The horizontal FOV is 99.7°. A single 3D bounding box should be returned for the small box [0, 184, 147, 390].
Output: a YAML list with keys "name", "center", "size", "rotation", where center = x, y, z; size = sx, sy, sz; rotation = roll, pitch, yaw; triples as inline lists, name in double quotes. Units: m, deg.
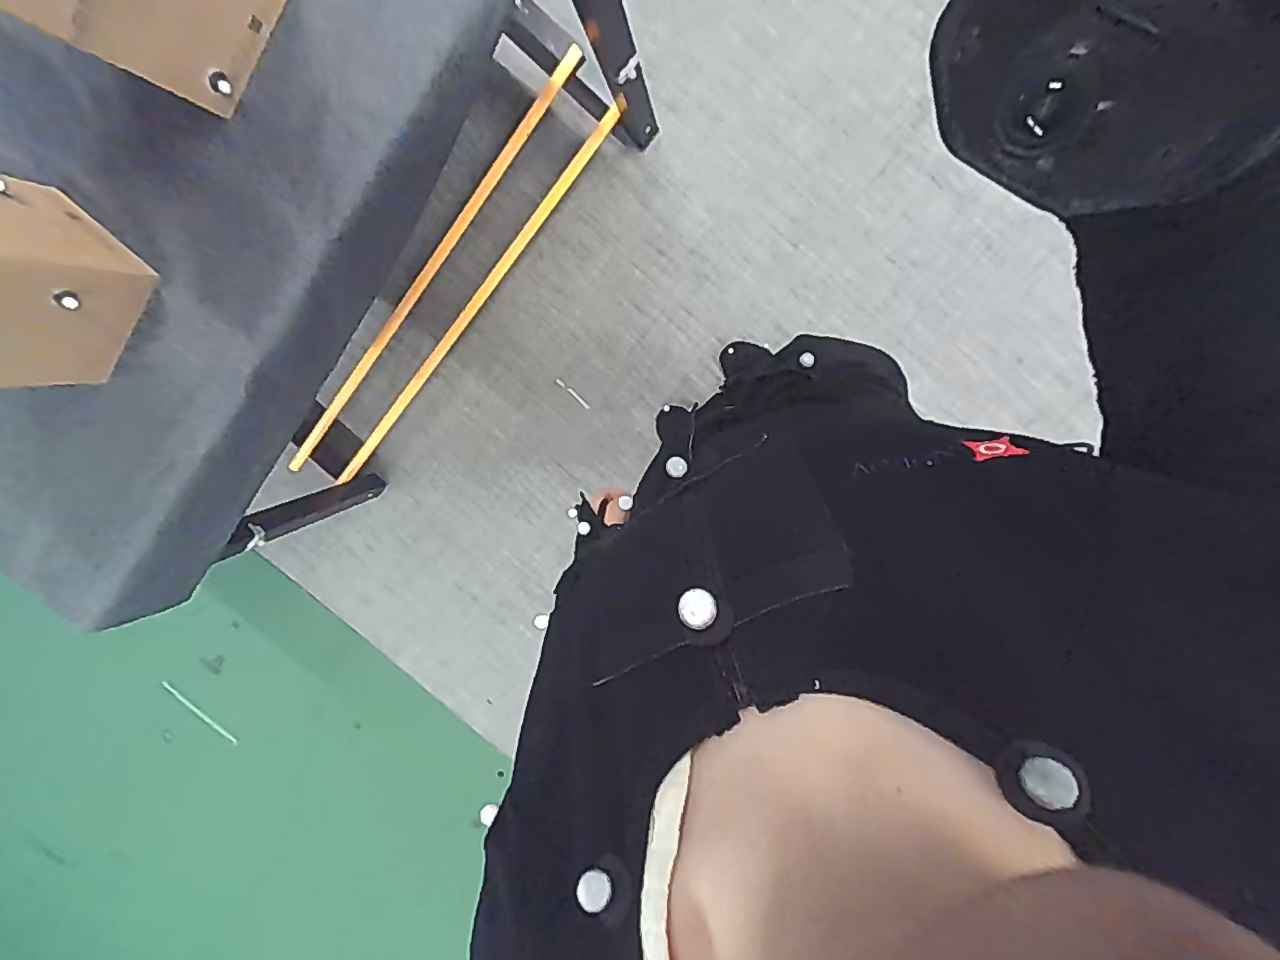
- name: "small box"
  center: [-0.719, -0.220, 0.606]
  size: [0.168, 0.176, 0.179]
  rotation: [41, 105, 0]

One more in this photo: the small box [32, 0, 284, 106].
- name: "small box"
  center: [-0.492, -0.502, 0.513]
  size: [0.179, 0.176, 0.168]
  rotation: [41, 104, -1]
